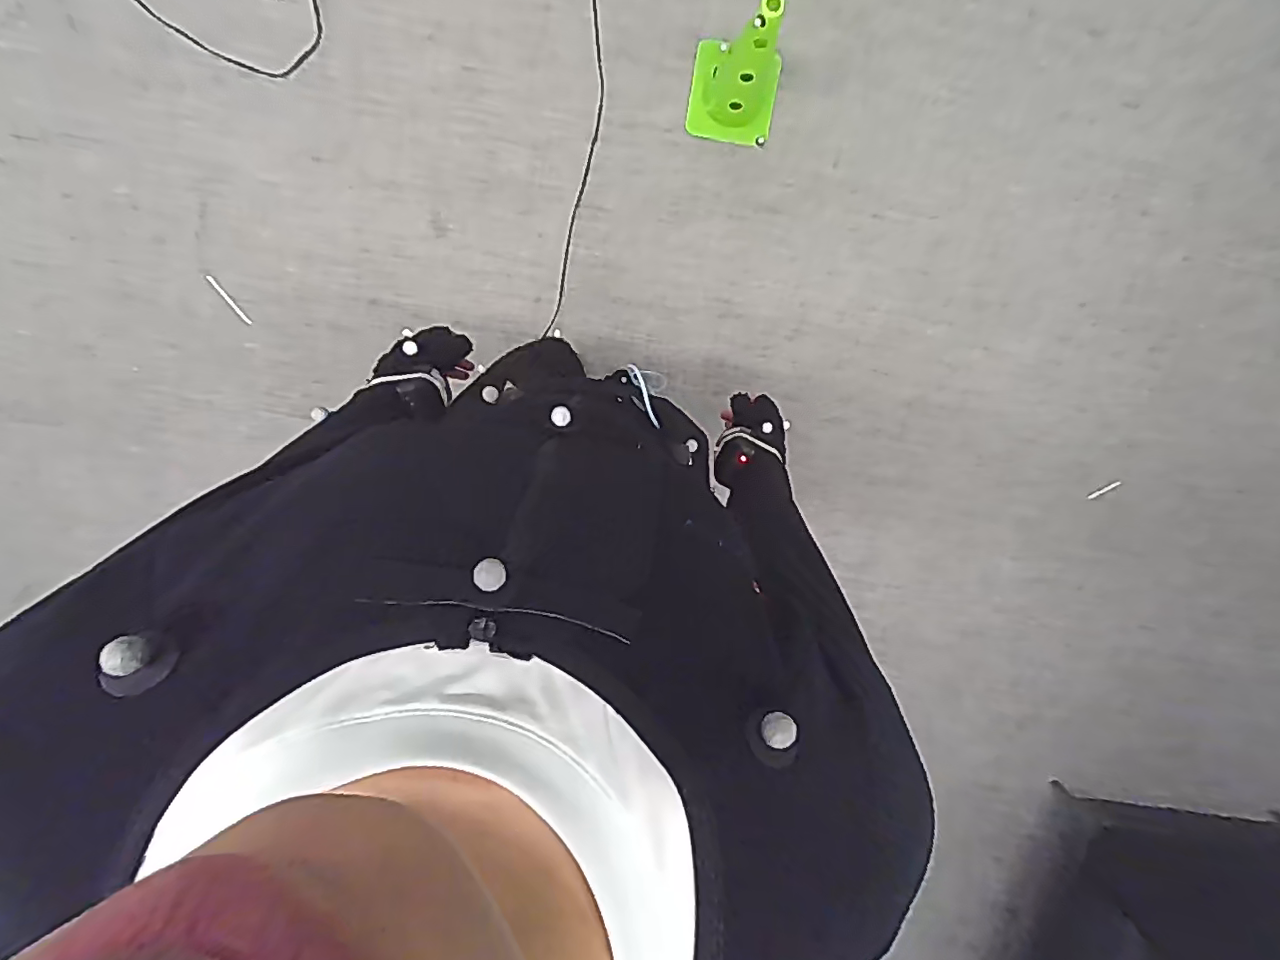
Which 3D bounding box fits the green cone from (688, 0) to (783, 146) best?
[{"bbox_3d":[0.226,-0.870,1.104,0.202,0.368,0.200,8,103,-3],"label":"green cone"}]
